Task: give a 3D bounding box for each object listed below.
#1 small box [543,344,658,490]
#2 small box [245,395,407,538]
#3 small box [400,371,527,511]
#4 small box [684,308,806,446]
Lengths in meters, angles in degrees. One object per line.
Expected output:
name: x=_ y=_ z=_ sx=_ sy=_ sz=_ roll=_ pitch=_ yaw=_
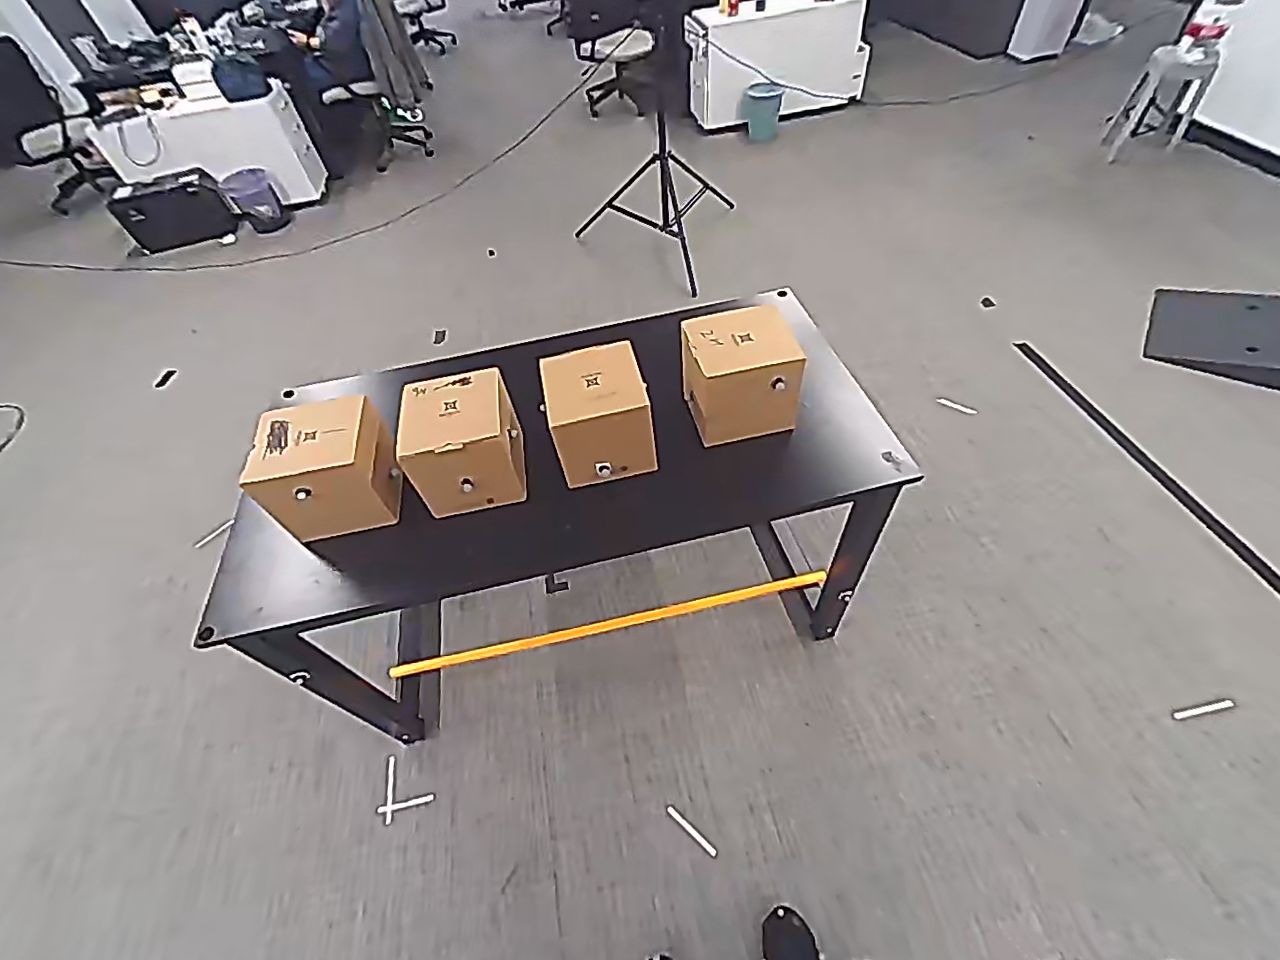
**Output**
small box: x=-0.070 y=-0.111 z=0.970 sx=0.168 sy=0.176 sz=0.179 roll=-14 pitch=52 yaw=-3
small box: x=-0.530 y=-0.019 z=0.944 sx=0.179 sy=0.176 sz=0.168 roll=-12 pitch=52 yaw=-4
small box: x=-0.302 y=-0.061 z=0.954 sx=0.168 sy=0.176 sz=0.179 roll=-11 pitch=52 yaw=-3
small box: x=0.183 y=-0.186 z=0.997 sx=0.179 sy=0.176 sz=0.168 roll=-12 pitch=51 yaw=-2
